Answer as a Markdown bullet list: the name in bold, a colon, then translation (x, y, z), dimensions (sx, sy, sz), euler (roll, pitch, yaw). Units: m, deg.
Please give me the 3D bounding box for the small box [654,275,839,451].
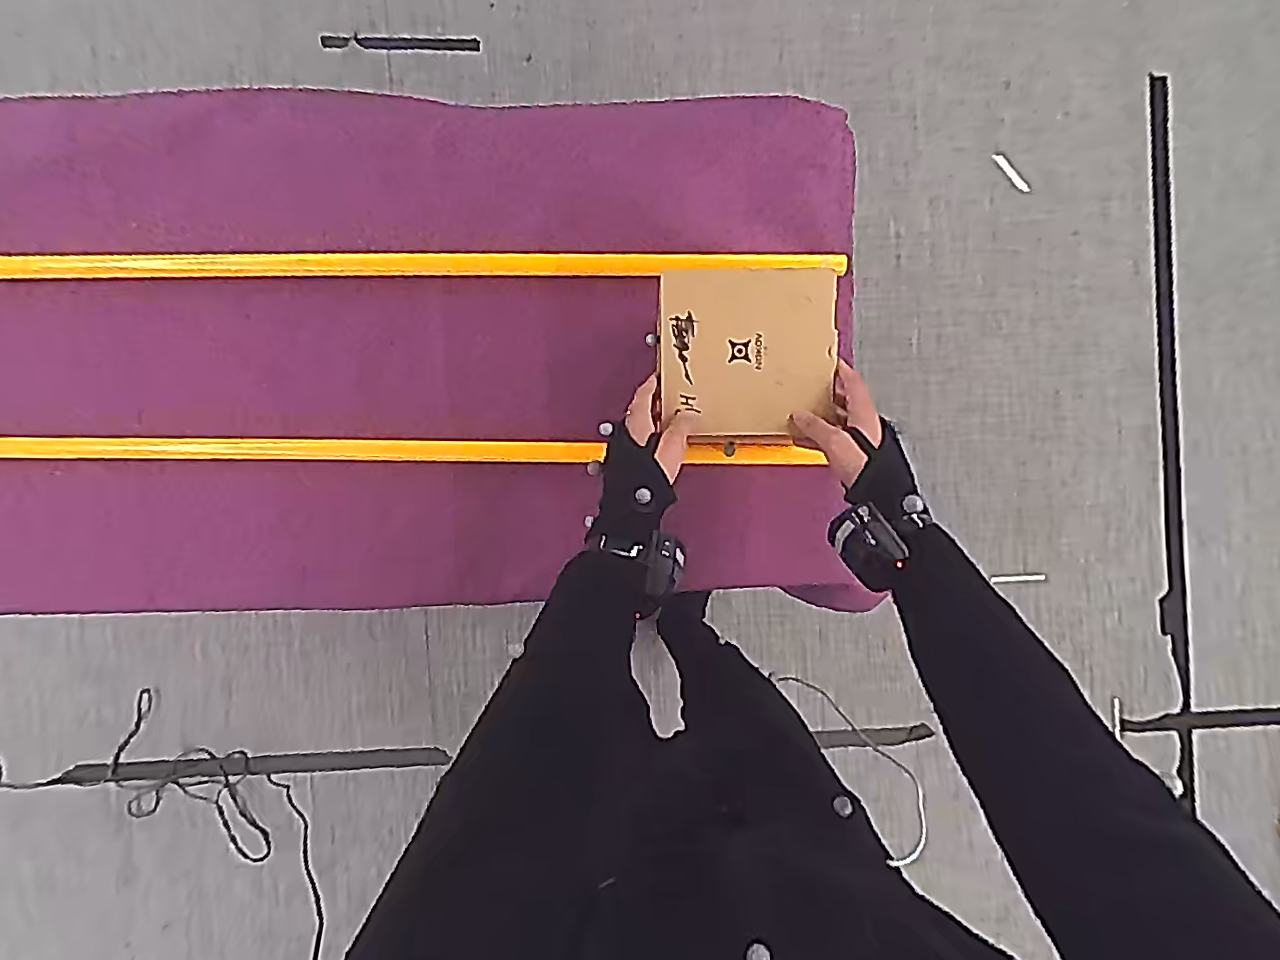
- **small box**: translation (0.106, -0.119, 0.608), dimensions (0.179, 0.176, 0.168), euler (0, 91, 0)
